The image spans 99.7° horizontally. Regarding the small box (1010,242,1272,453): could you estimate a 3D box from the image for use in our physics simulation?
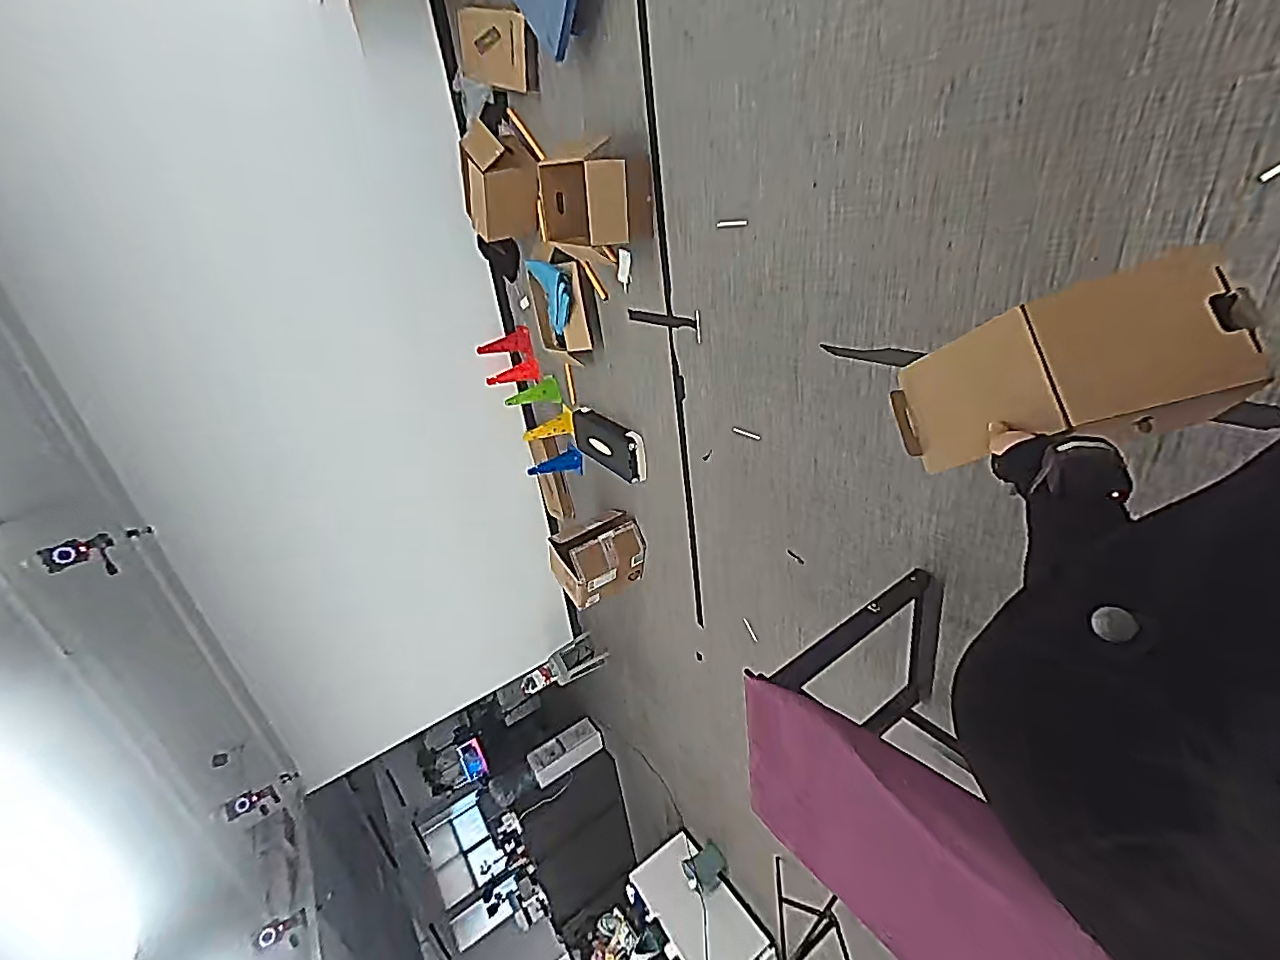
[{"bbox_3d":[0.575,-0.142,0.657,0.179,0.176,0.168,-16,73,25],"label":"small box"}]
